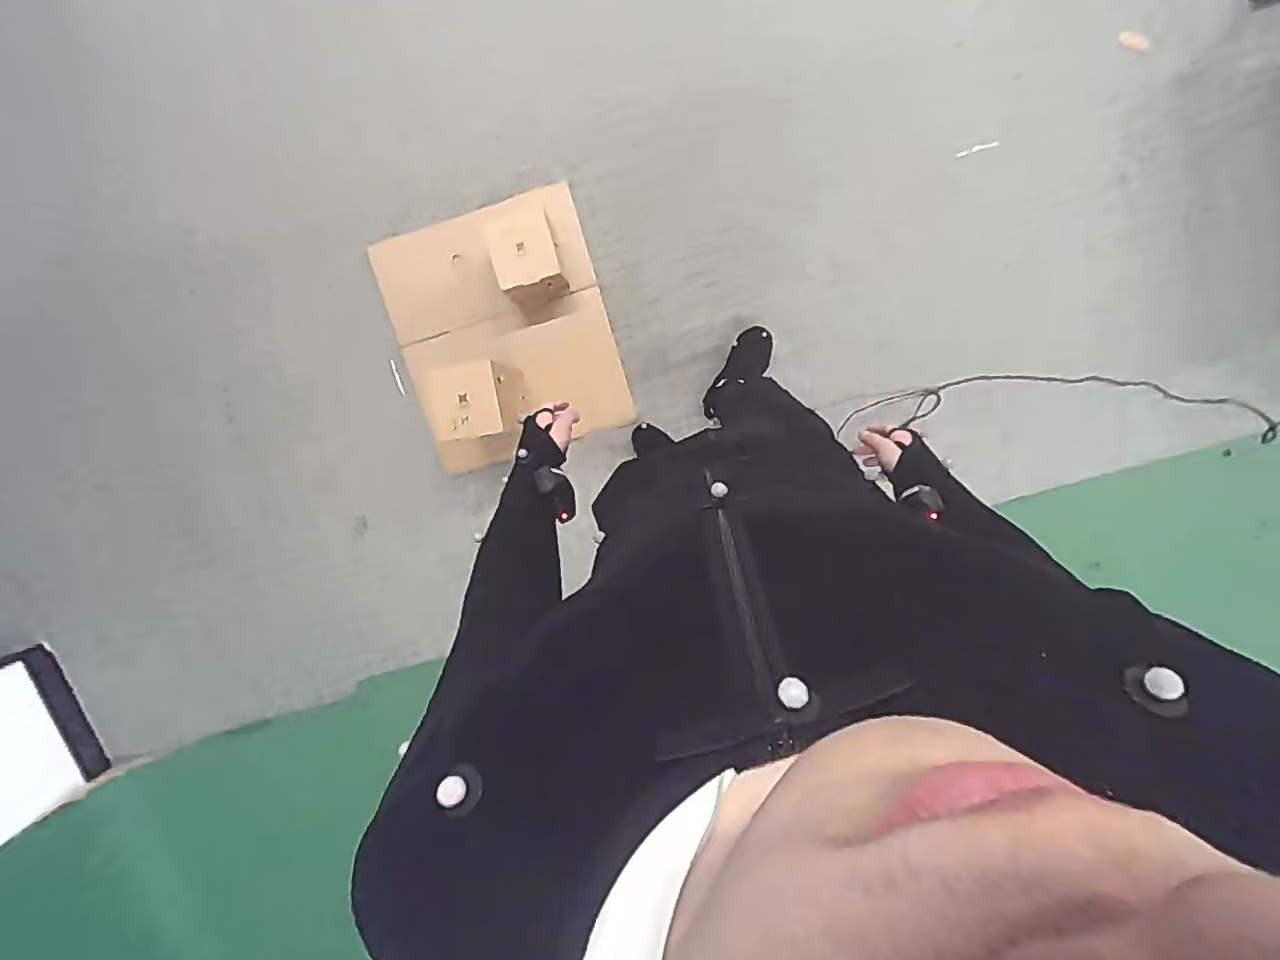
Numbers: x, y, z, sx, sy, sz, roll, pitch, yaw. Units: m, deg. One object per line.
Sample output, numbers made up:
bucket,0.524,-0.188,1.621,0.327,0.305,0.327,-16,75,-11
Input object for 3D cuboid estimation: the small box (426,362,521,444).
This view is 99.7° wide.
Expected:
small box,-0.408,-0.191,1.349,0.168,0.176,0.179,-9,99,3

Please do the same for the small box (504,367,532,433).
small box,-0.411,-0.212,1.514,0.168,0.176,0.179,-8,98,3

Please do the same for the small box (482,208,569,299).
small box,-0.298,-0.596,1.453,0.168,0.176,0.179,-15,99,3
